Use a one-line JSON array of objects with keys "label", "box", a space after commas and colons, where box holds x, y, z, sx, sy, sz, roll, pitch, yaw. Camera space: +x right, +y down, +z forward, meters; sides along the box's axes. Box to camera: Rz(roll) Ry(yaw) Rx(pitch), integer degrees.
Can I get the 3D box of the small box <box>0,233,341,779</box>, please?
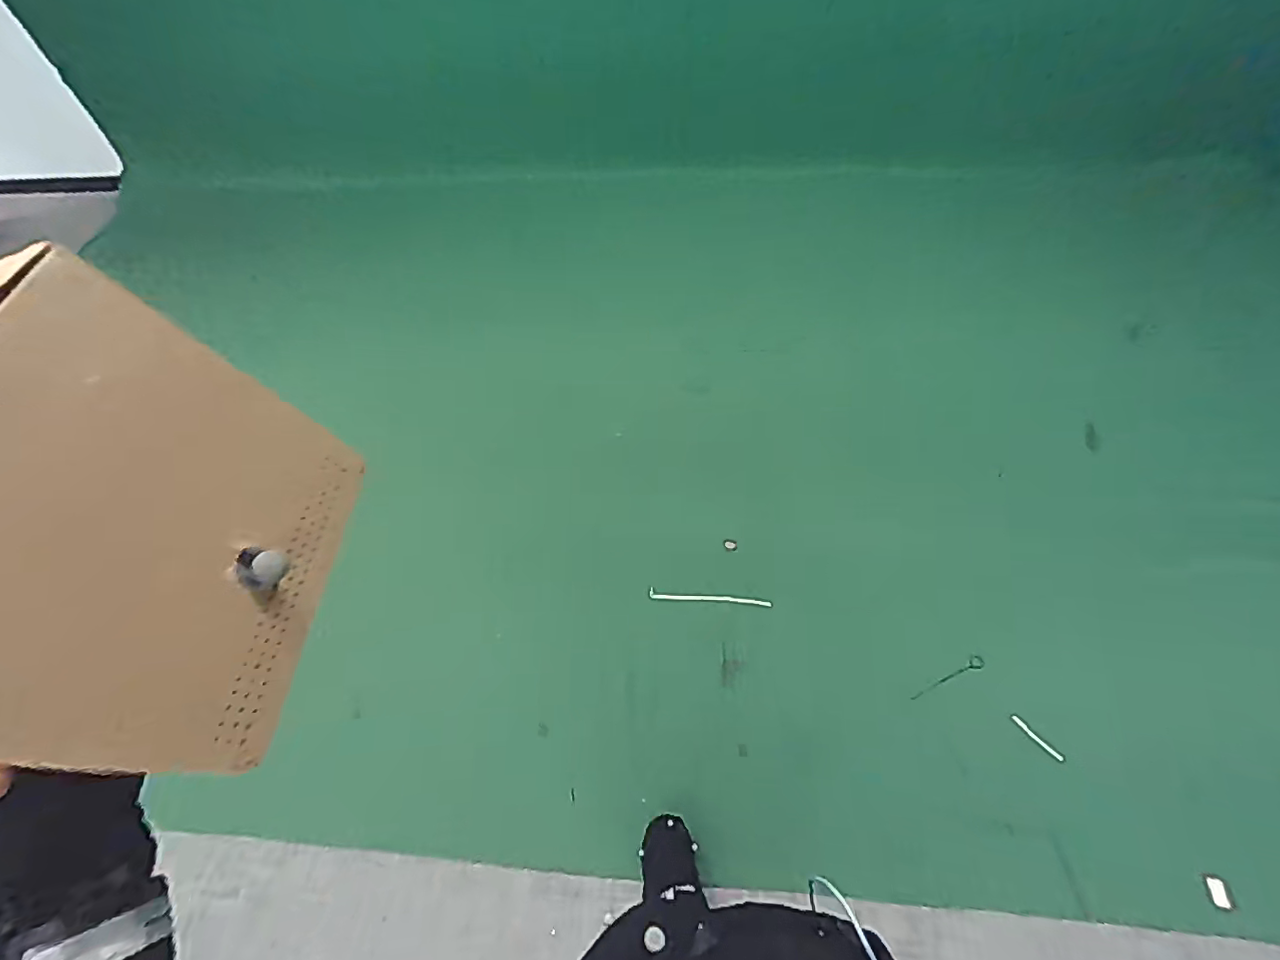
[{"label": "small box", "box": [-0.278, 0.030, 0.247, 0.168, 0.176, 0.179, -9, 58, 17]}]
